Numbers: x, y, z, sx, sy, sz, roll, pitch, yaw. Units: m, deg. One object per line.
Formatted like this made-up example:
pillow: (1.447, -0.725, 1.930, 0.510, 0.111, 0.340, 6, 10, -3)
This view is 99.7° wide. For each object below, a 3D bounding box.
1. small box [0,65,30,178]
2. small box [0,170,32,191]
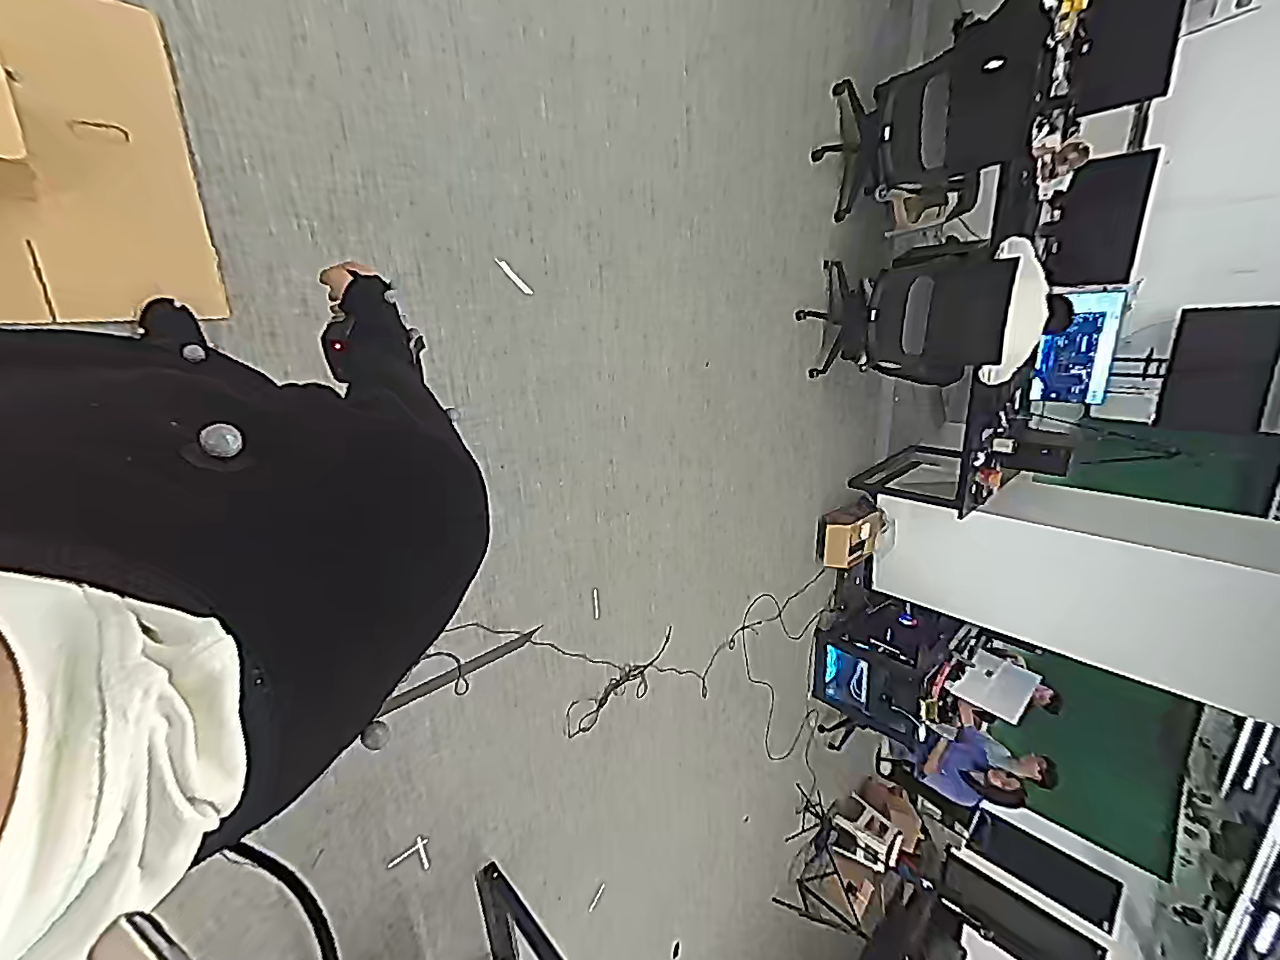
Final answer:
small box: (-1.061, -0.576, 0.807, 0.168, 0.176, 0.179, -15, 112, -41)
small box: (-1.181, -0.603, 0.917, 0.179, 0.176, 0.168, -16, 112, -41)
